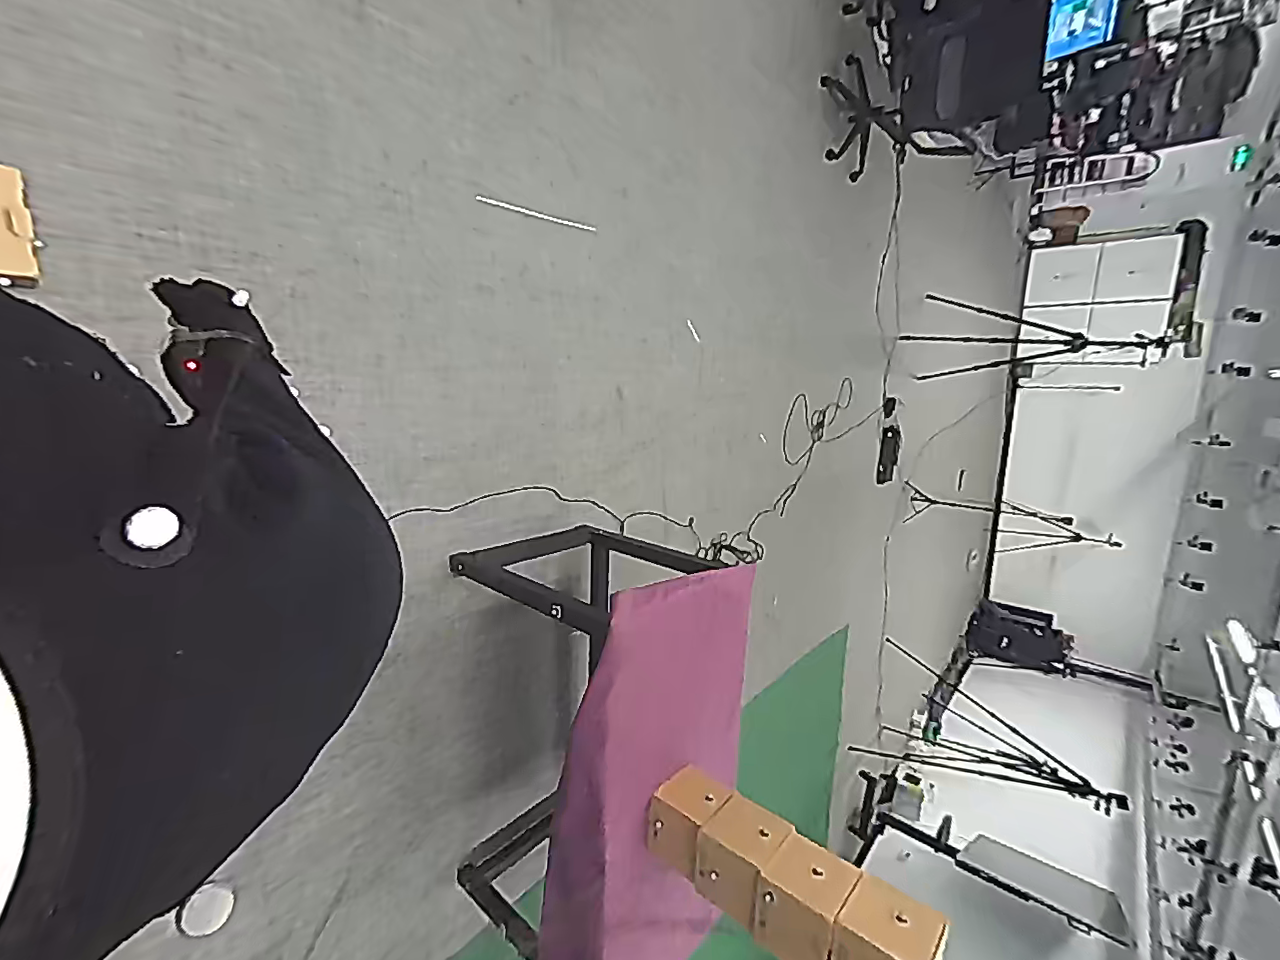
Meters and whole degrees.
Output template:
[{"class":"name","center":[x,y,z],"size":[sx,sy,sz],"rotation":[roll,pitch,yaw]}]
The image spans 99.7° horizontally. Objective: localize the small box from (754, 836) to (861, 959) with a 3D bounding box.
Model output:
[{"class":"small box","center":[0.365,0.936,1.184],"size":[0.179,0.176,0.168],"rotation":[-5,100,-50]}]

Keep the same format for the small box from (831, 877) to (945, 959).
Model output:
[{"class":"small box","center":[0.492,0.954,1.082],"size":[0.179,0.176,0.168],"rotation":[-3,98,-50]}]

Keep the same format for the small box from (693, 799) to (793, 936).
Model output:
[{"class":"small box","center":[0.248,0.913,1.297],"size":[0.179,0.176,0.168],"rotation":[-5,100,-49]}]

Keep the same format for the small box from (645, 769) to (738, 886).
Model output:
[{"class":"small box","center":[0.134,0.897,1.415],"size":[0.179,0.176,0.168],"rotation":[-3,99,-49]}]
